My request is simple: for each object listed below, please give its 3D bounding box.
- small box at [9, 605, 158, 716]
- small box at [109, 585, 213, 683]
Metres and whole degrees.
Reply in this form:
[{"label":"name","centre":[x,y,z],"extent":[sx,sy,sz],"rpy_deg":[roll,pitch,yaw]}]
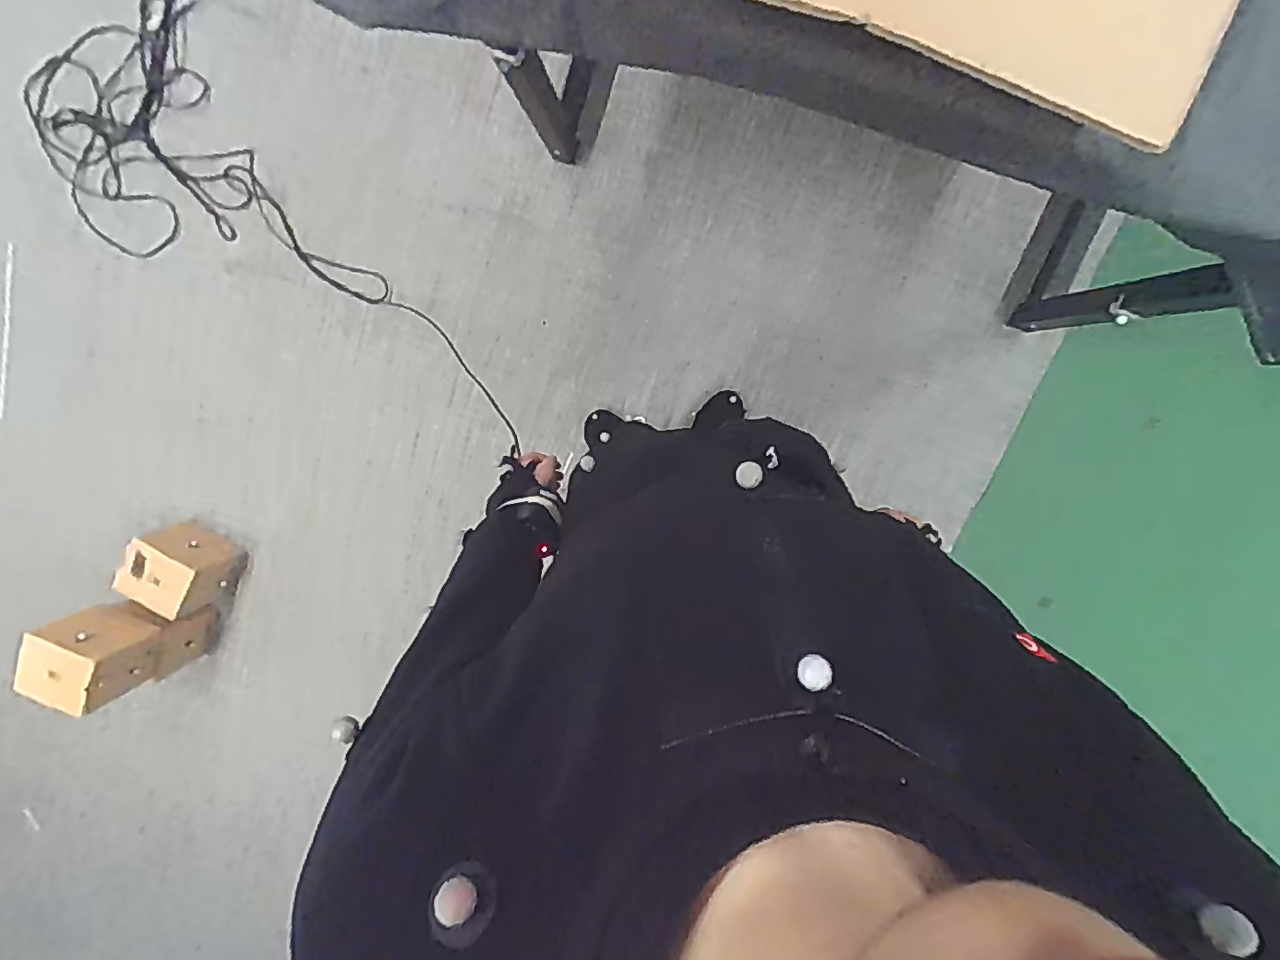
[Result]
[{"label":"small box","centre":[-1.344,0.428,1.316],"extent":[0.179,0.176,0.168],"rpy_deg":[24,102,-1]},{"label":"small box","centre":[-1.325,0.412,1.478],"extent":[0.179,0.176,0.168],"rpy_deg":[24,102,-2]}]
